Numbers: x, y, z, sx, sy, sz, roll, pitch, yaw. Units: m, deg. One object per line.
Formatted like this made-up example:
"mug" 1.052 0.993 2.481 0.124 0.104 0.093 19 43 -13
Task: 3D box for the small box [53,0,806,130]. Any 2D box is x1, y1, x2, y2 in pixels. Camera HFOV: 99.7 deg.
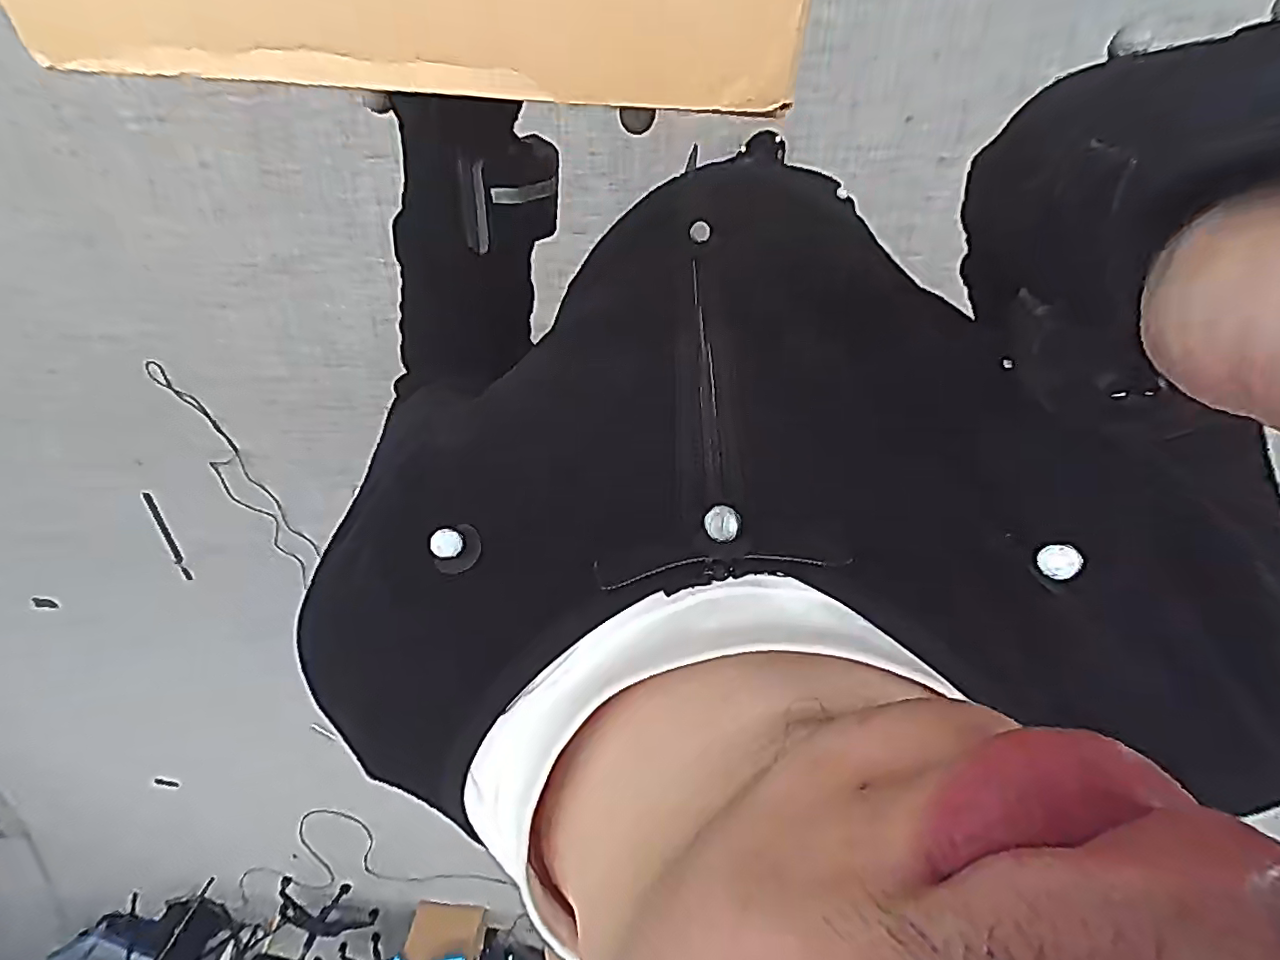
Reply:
"small box" -0.039 -0.204 0.137 0.179 0.176 0.168 8 131 6
